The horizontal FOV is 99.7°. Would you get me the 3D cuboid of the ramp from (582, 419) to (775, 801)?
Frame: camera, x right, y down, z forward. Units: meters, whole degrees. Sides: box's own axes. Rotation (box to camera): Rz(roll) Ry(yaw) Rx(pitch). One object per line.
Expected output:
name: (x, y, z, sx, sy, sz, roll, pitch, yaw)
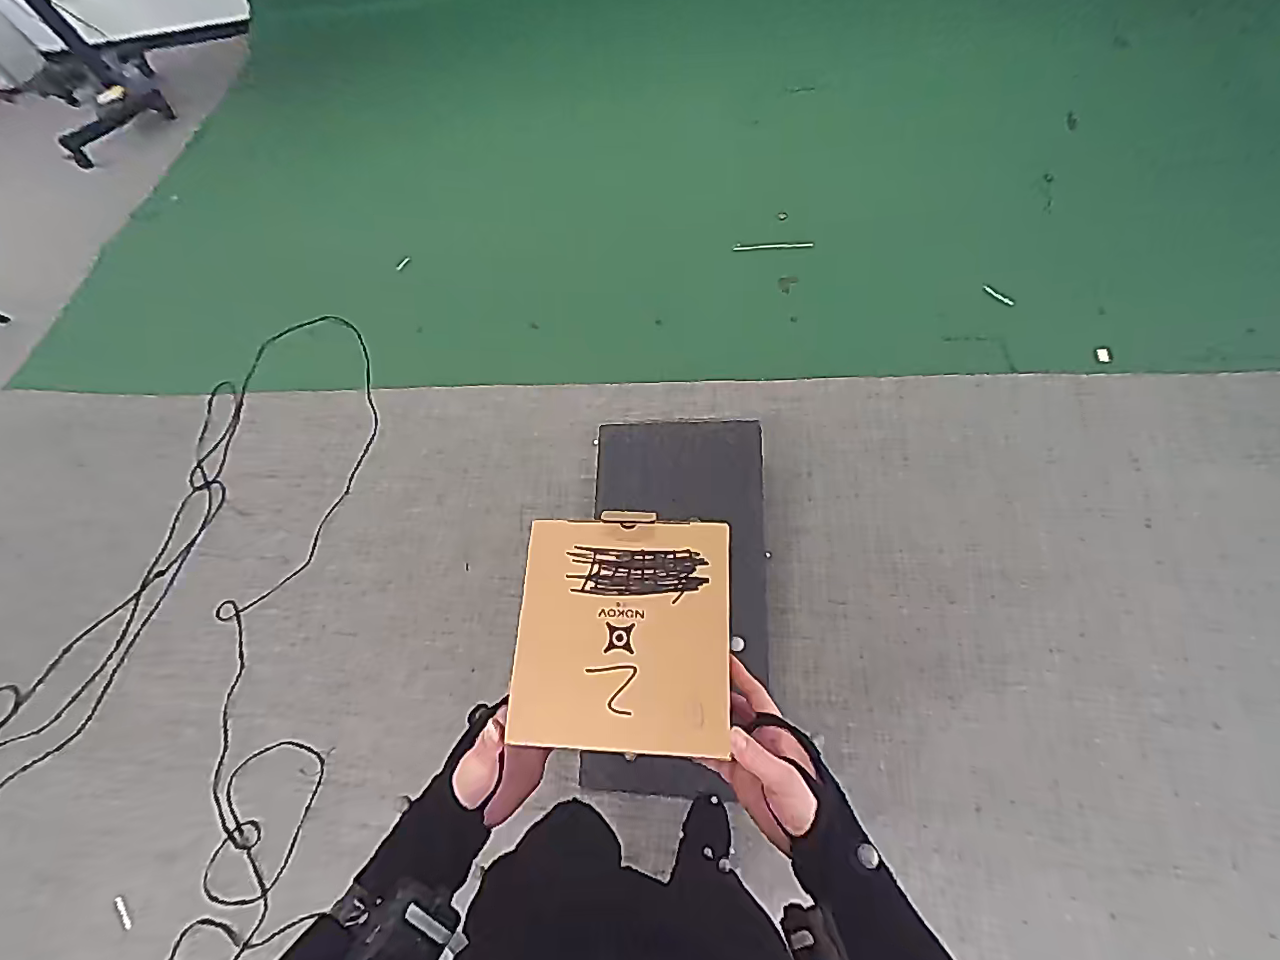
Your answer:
ramp: (0.107, 0.304, 1.484, 0.509, 0.206, 0.991, -2, 63, 7)
